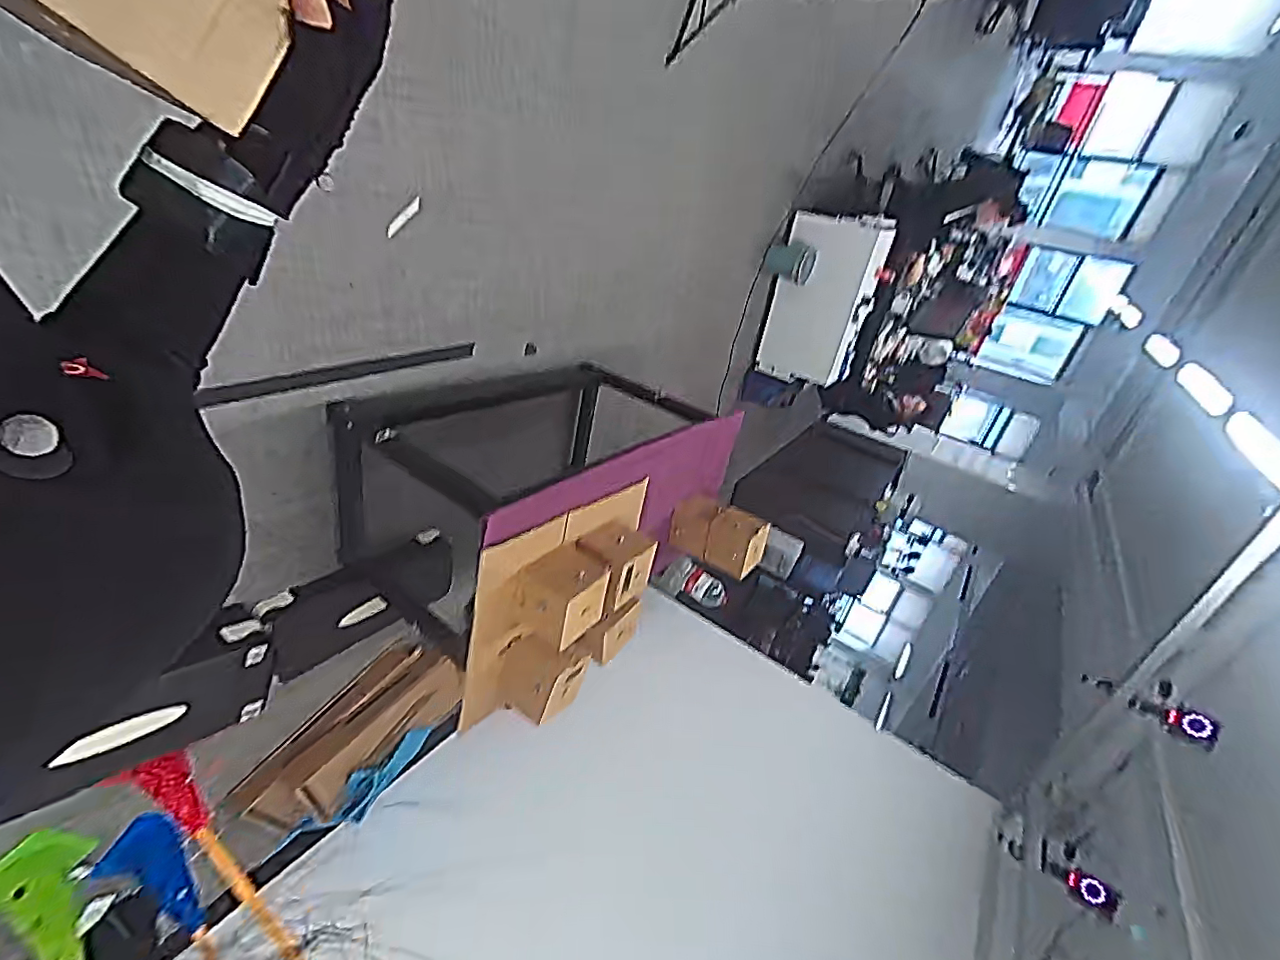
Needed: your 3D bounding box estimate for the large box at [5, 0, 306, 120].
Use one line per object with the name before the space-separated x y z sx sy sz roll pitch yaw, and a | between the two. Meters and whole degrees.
large box | -0.377 -0.467 0.228 0.320 0.320 0.408 -58 156 4
